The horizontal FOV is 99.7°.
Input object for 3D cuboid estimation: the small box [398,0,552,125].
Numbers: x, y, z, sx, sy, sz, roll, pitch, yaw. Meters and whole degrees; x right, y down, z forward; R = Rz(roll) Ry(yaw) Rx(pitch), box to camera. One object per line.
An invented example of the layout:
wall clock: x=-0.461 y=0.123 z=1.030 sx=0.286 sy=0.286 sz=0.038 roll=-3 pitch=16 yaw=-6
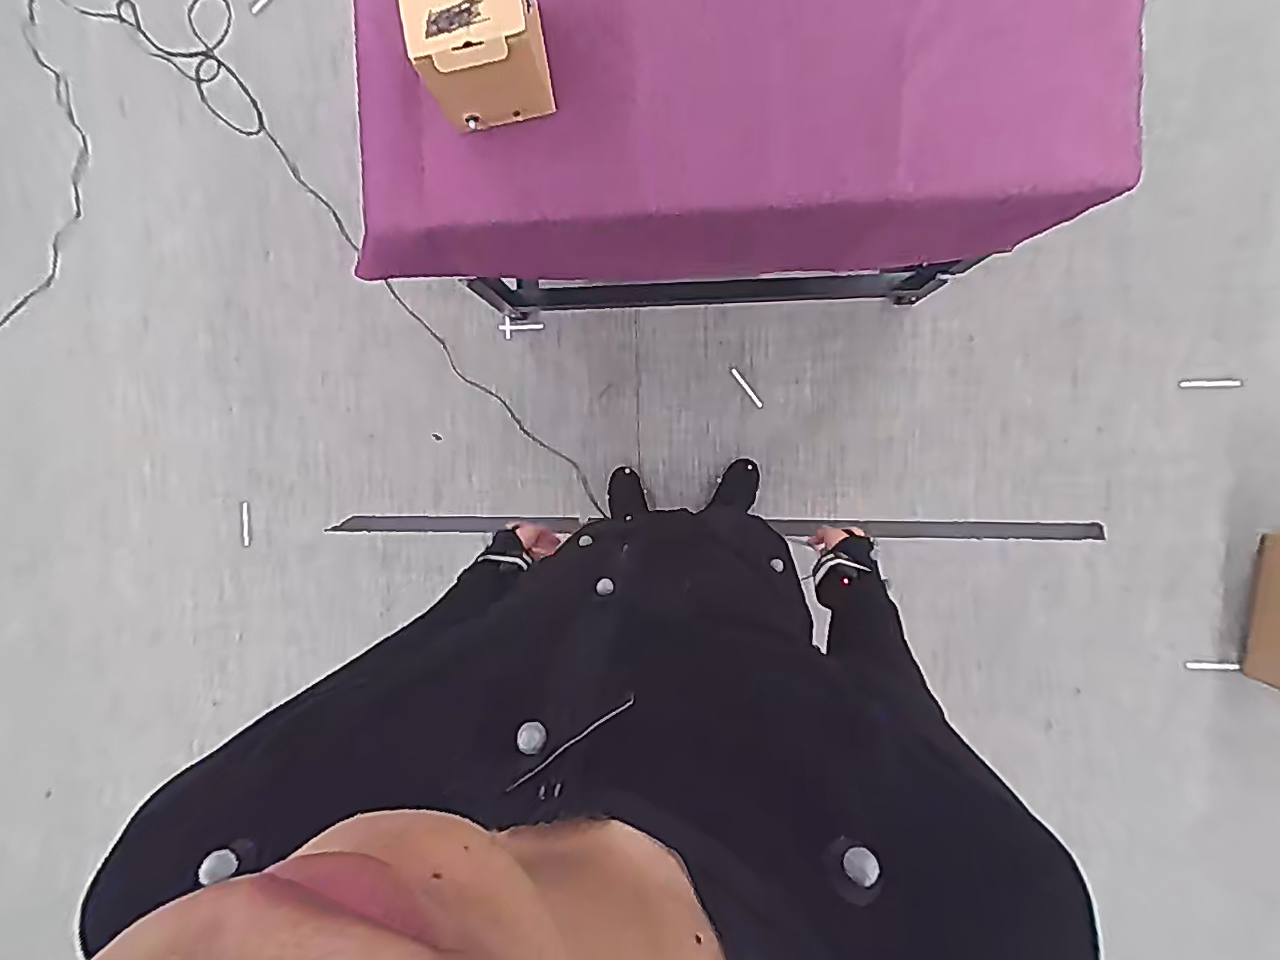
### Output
small box: x=-0.237 y=-0.659 z=0.795 sx=0.168 sy=0.176 sz=0.179 roll=-10 pitch=91 yaw=4
